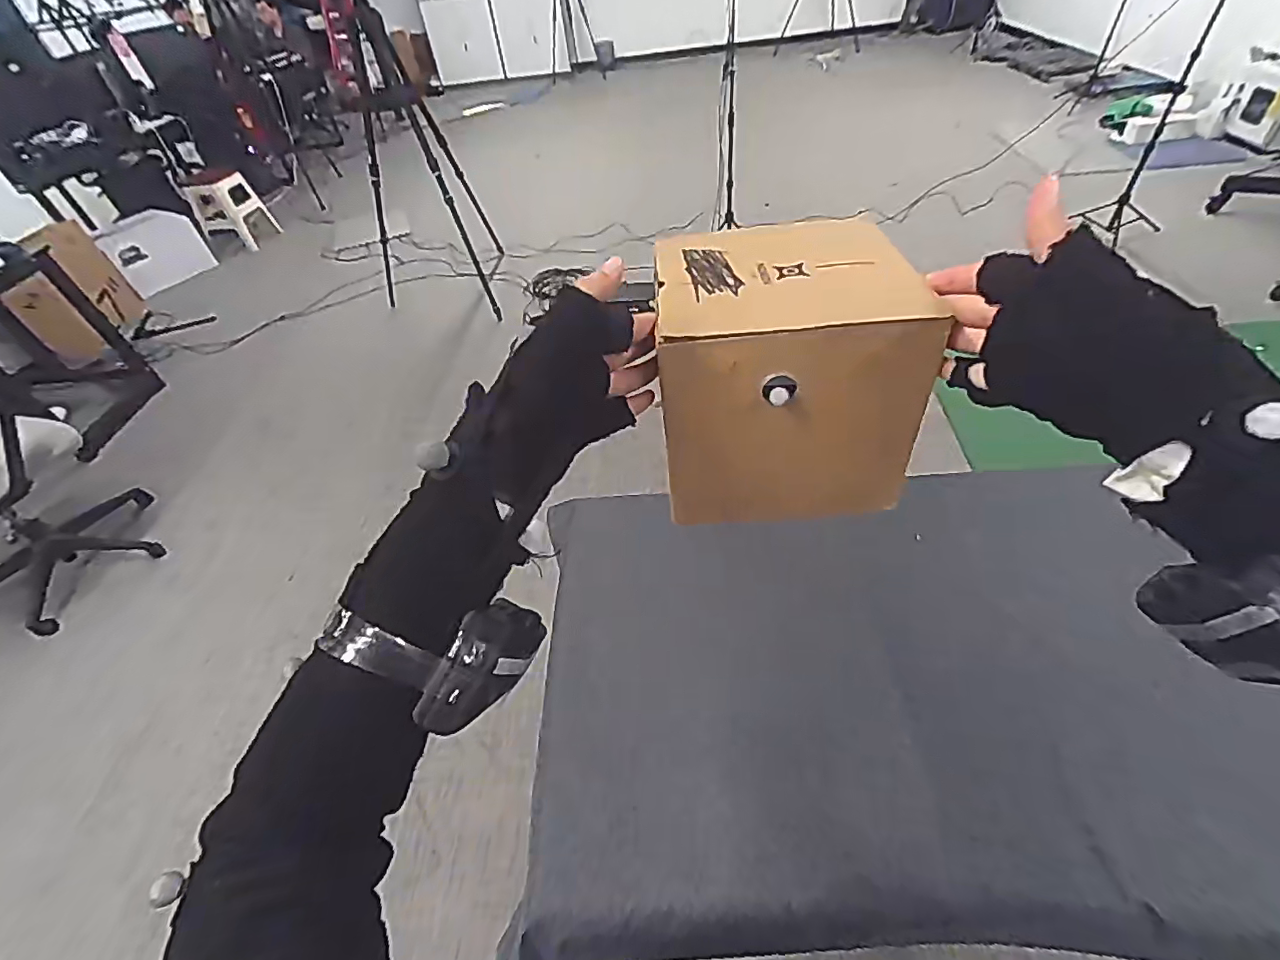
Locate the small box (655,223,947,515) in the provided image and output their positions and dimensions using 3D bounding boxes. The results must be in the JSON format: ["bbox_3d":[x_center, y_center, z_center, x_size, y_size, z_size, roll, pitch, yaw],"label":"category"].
[{"bbox_3d":[0.107,-0.085,0.436,0.179,0.176,0.168,-4,44,4],"label":"small box"}]
